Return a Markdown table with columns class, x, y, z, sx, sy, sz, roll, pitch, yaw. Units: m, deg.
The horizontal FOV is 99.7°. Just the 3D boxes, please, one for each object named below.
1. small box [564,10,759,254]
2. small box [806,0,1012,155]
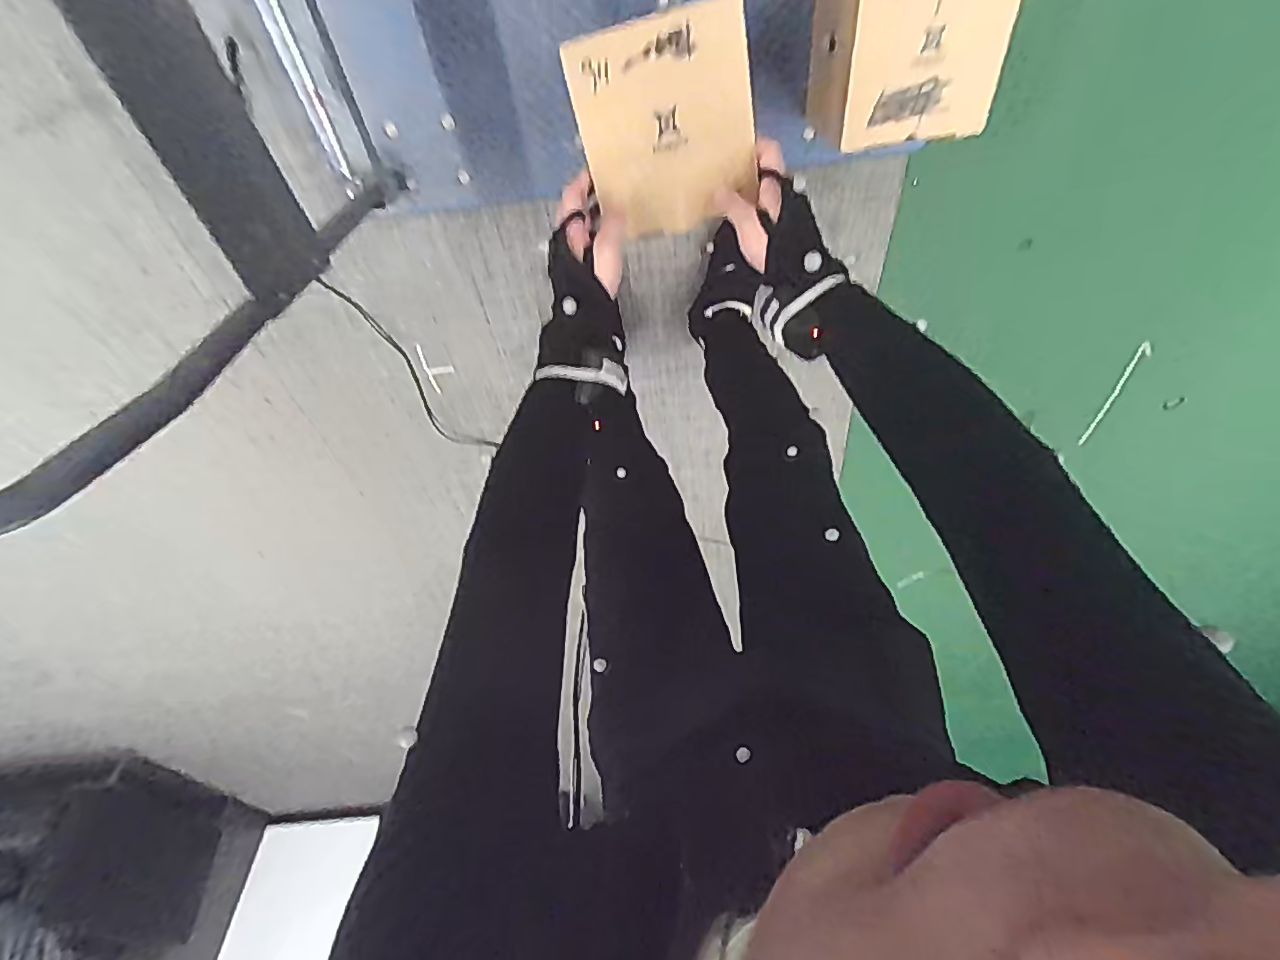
| class | x | y | z | sx | sy | sz | roll | pitch | yaw |
| --- | --- | --- | --- | --- | --- | --- | --- | --- | --- |
| small box | 0.025 | -0.374 | 0.584 | 0.168 | 0.176 | 0.179 | -12 | 128 | 6 |
| small box | 0.305 | -0.519 | 0.649 | 0.168 | 0.176 | 0.179 | -7 | 134 | 3 |
